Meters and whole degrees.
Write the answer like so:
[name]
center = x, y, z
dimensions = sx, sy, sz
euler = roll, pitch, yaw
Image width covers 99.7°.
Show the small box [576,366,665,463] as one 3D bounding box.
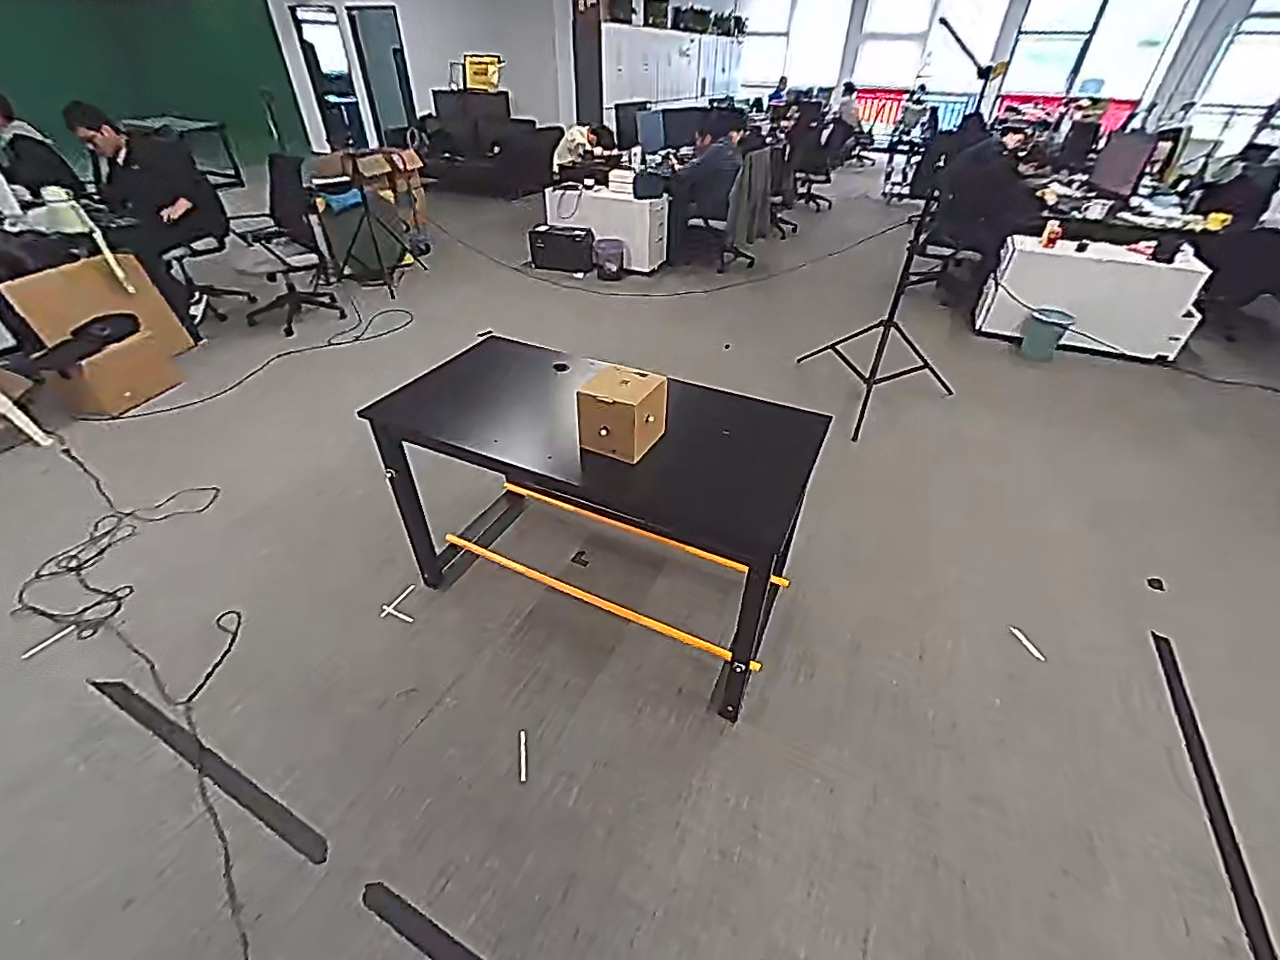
[small box]
center = -0.044, -0.168, 1.388
dimensions = 0.168, 0.176, 0.179
euler = 18, 41, 21
